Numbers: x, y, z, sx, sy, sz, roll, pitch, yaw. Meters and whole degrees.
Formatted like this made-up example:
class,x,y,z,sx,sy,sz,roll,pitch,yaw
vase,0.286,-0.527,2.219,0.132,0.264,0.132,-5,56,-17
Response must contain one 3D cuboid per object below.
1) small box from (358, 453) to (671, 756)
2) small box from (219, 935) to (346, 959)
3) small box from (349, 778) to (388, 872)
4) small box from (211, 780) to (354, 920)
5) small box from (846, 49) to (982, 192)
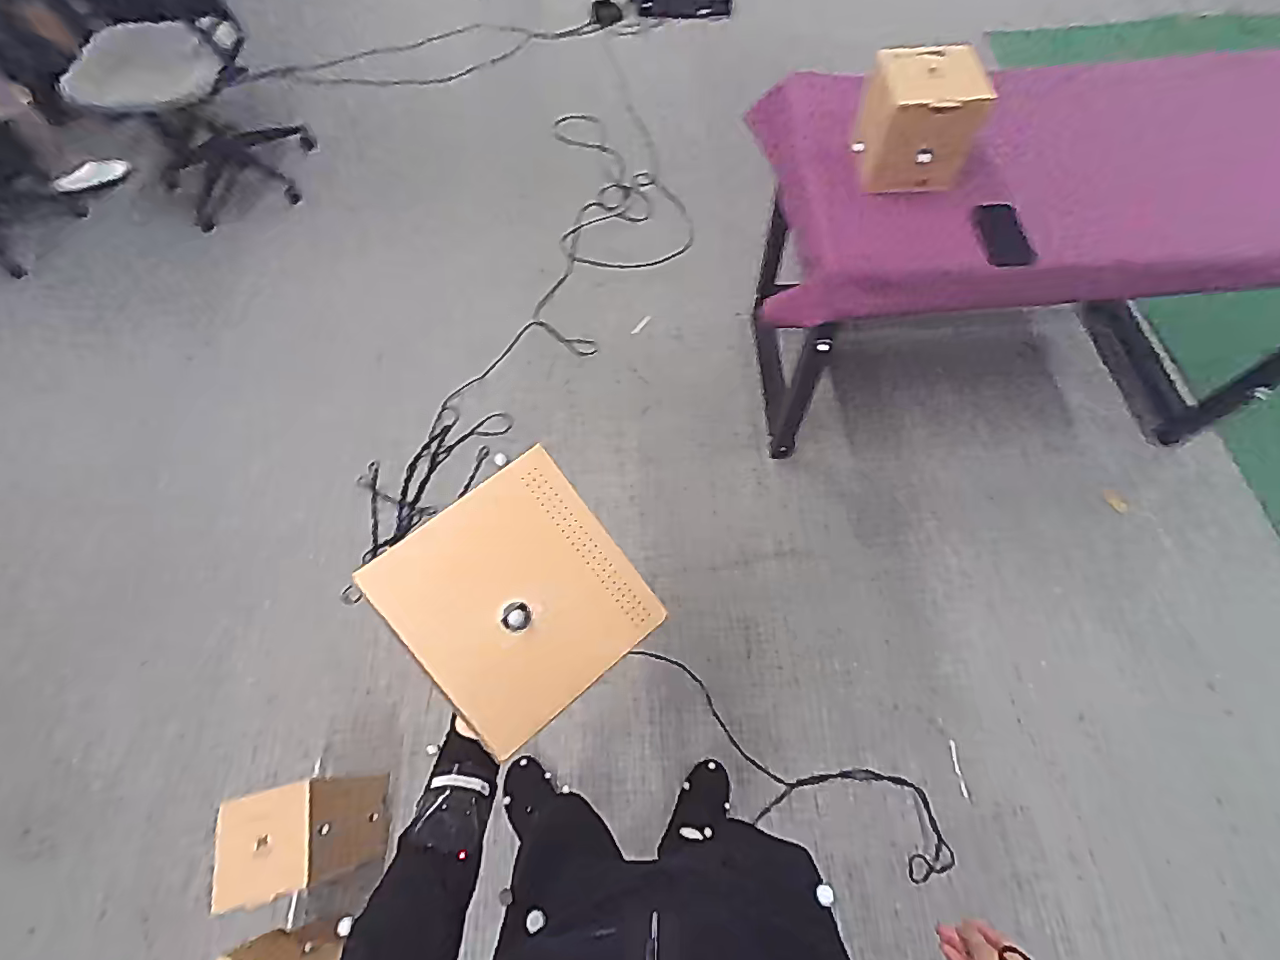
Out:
class,x,y,z,sx,sy,sz,roll,pitch,yaw
small box,-0.103,0.089,0.478,0.176,0.168,0.179,-38,94,-14
small box,-0.645,0.929,0.922,0.168,0.176,0.179,11,63,10
small box,-0.677,0.763,1.186,0.179,0.176,0.168,-10,63,-1
small box,-0.672,0.695,1.038,0.168,0.176,0.179,-13,64,-4
small box,0.507,-0.674,1.029,0.168,0.176,0.179,-1,64,3
